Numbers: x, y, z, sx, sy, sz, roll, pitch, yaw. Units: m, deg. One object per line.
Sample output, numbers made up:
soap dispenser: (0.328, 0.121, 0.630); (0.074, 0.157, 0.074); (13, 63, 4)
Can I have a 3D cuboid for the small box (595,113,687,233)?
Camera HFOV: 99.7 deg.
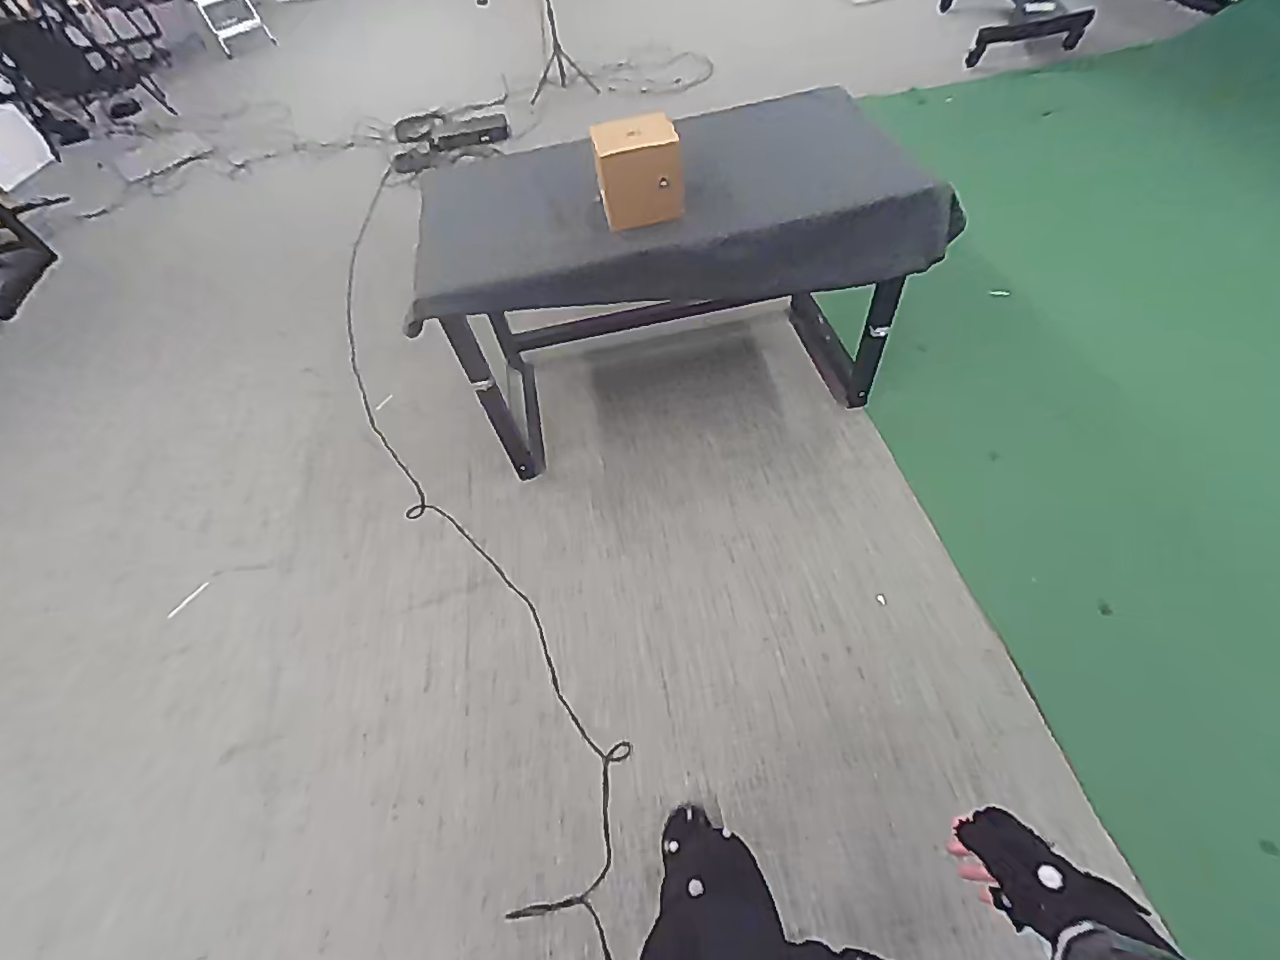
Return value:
small box: (0.006, -0.694, 1.230); (0.179, 0.176, 0.168); (-13, 53, -1)
